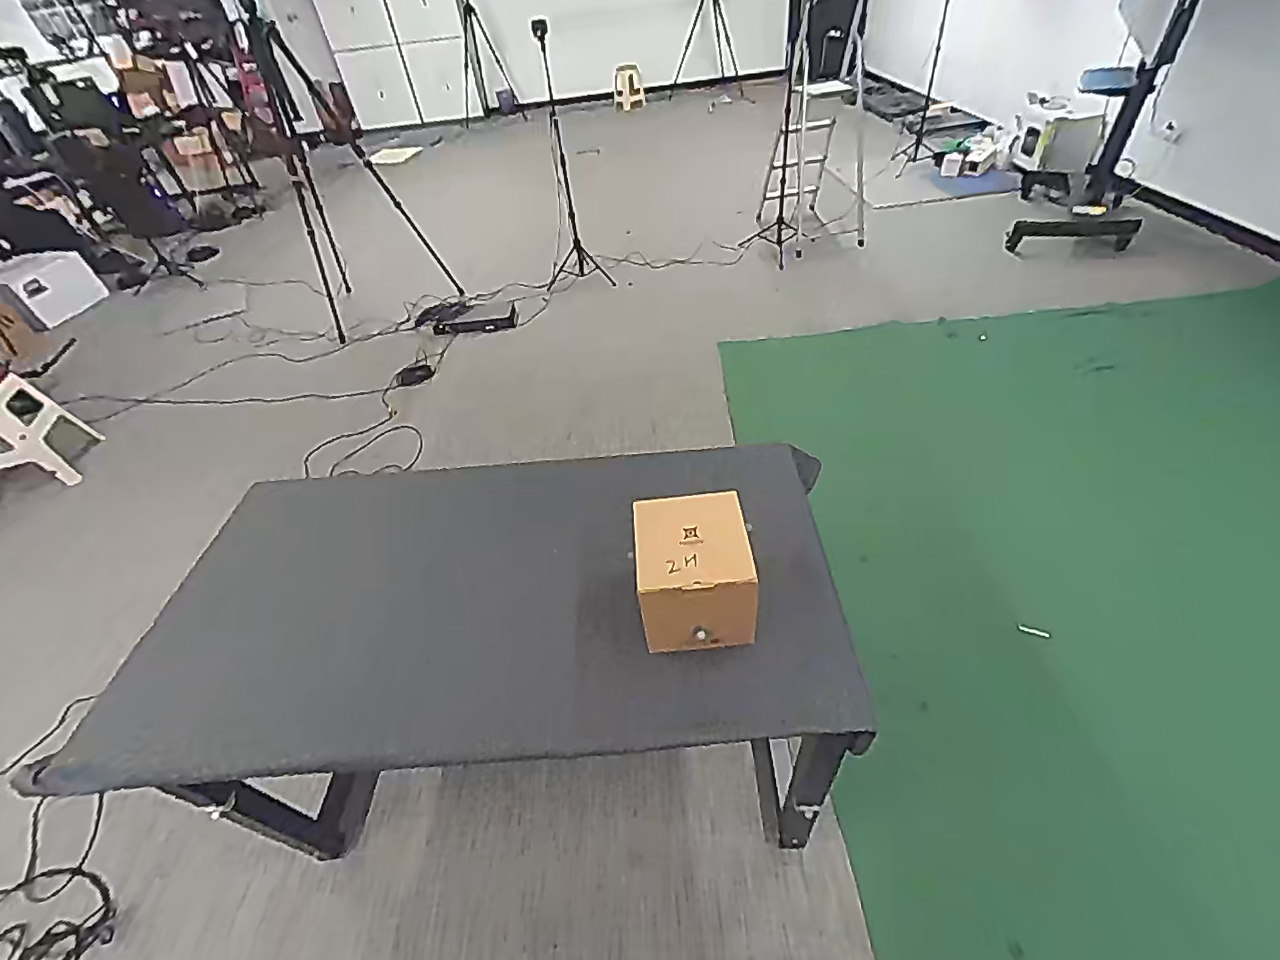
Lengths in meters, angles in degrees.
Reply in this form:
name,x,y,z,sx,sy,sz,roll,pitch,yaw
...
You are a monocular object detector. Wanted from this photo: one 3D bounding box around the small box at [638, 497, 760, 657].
name,x,y,z,sx,sy,sz,roll,pitch,yaw
small box,0.088,0.152,0.849,0.168,0.176,0.179,-7,43,3
